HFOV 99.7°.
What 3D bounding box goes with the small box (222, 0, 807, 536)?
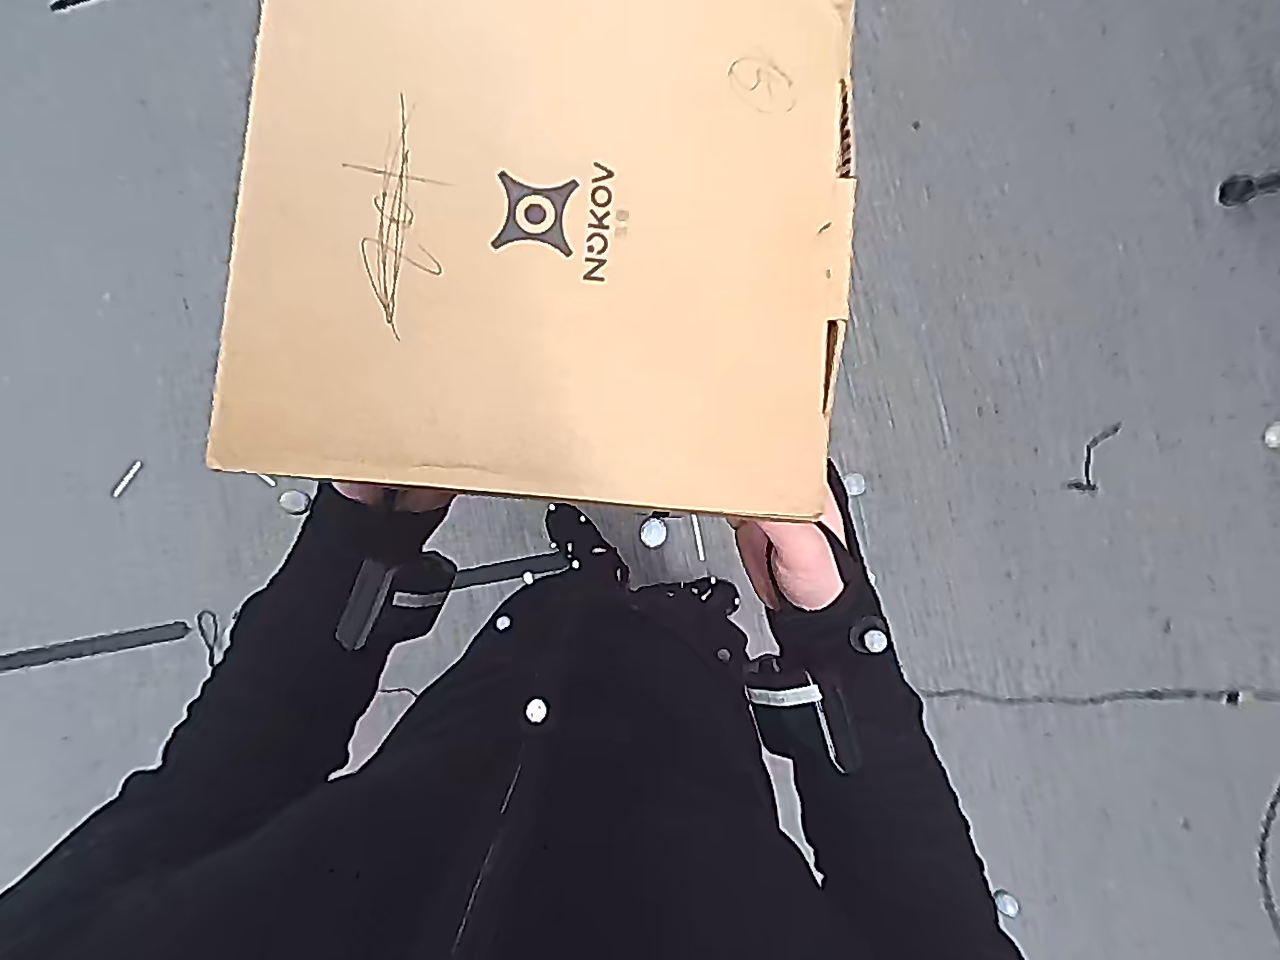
[{"bbox_3d":[-0.040,-0.065,0.252,0.179,0.176,0.168,4,86,-2],"label":"small box"}]
